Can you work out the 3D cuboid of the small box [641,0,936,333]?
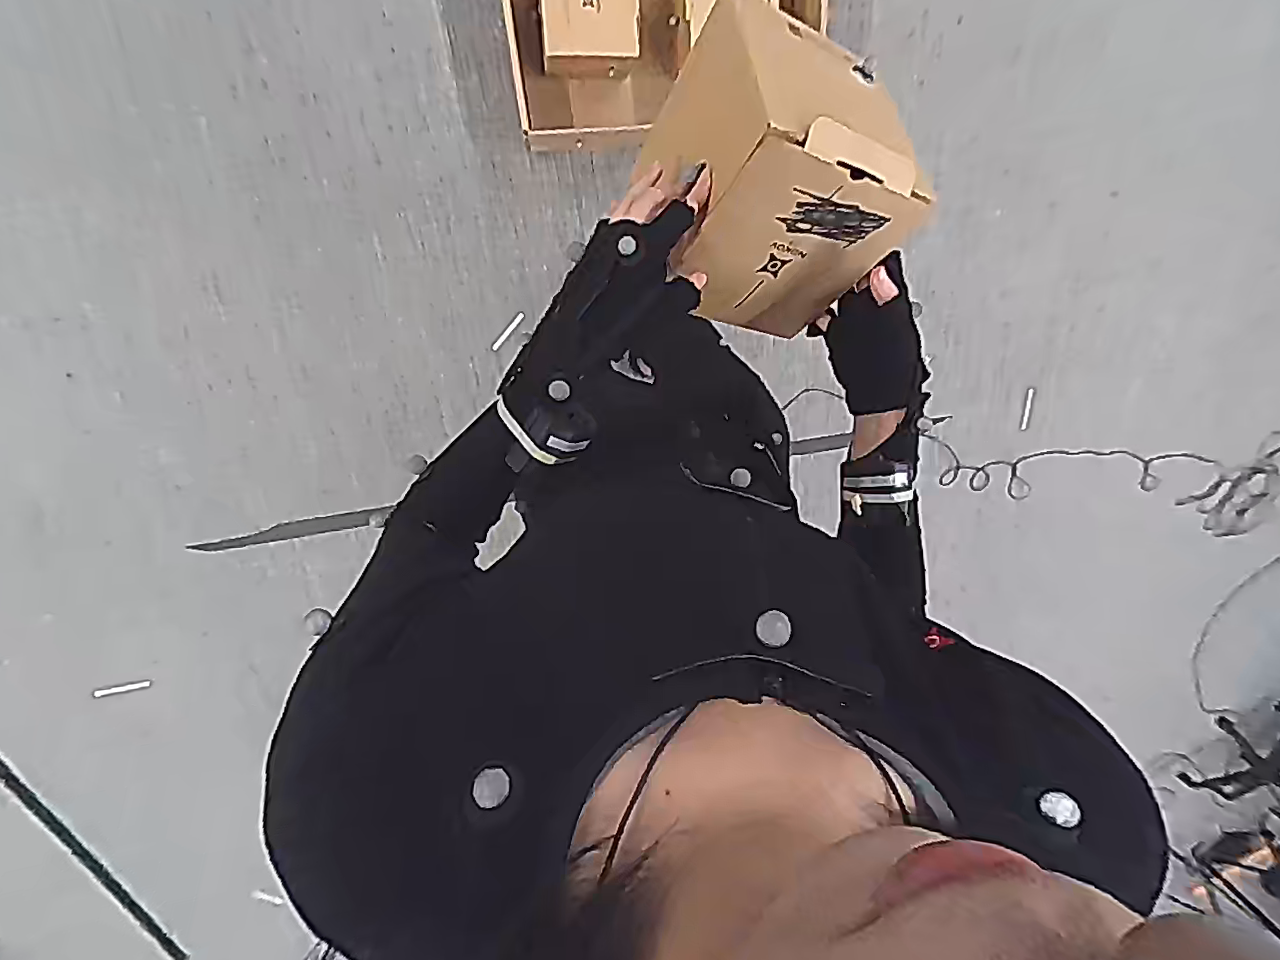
[{"bbox_3d":[0.111,-0.264,0.478,0.168,0.176,0.179,5,154,-26],"label":"small box"}]

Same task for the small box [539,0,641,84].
[{"bbox_3d":[-0.100,-0.883,1.038,0.179,0.176,0.168,-6,115,-8],"label":"small box"}]

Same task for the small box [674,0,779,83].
[{"bbox_3d":[0.164,-0.911,1.075,0.179,0.176,0.168,-7,116,-5],"label":"small box"}]
